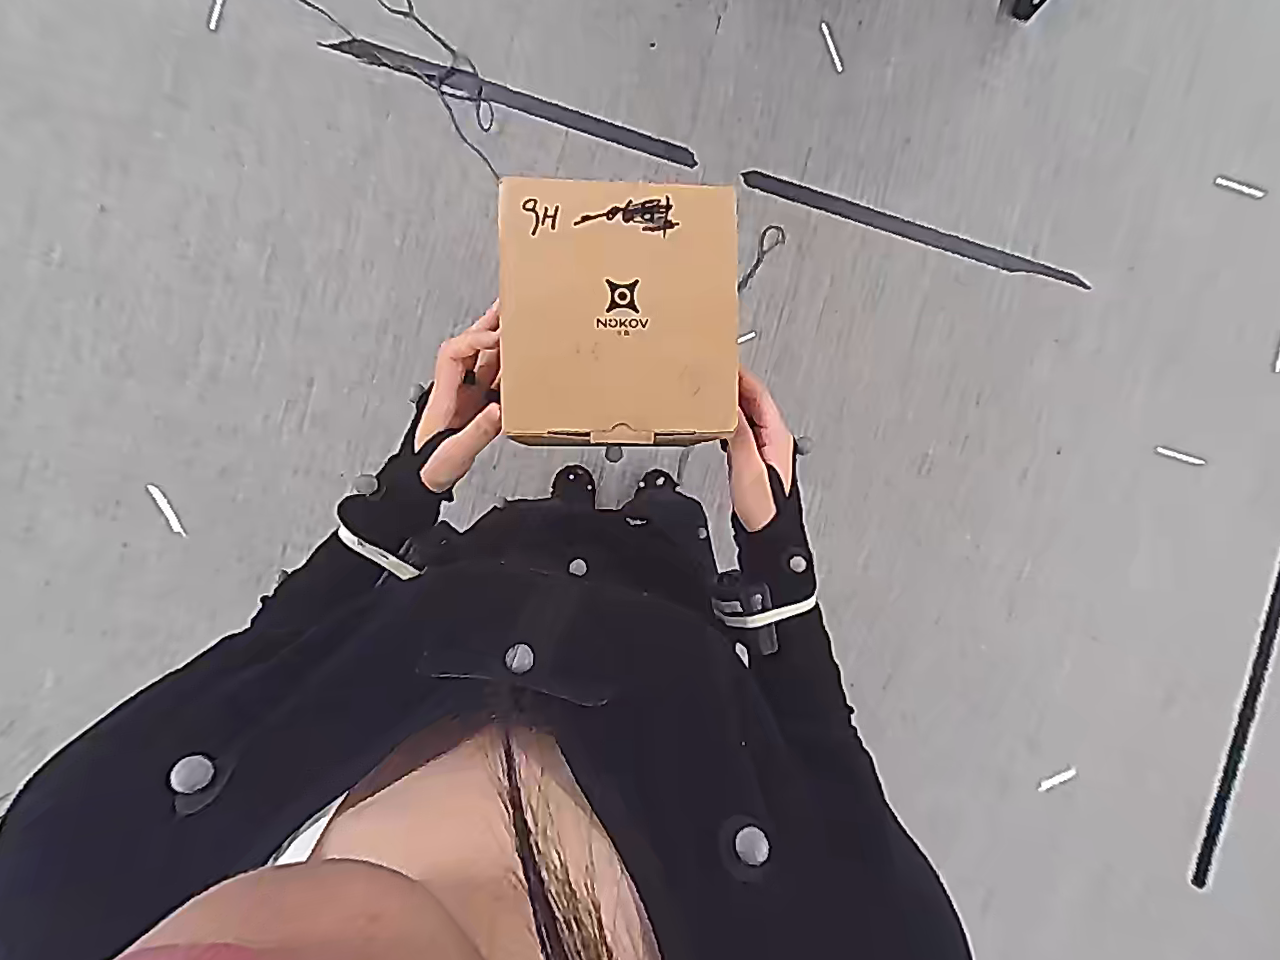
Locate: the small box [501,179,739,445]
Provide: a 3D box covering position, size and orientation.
[{"bbox_3d":[-0.020,-0.118,0.451,0.168,0.176,0.179,-1,91,-6],"label":"small box"}]

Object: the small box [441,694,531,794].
[{"bbox_3d":[-0.391,0.671,1.395,0.179,0.176,0.168,9,92,-5],"label":"small box"}]
